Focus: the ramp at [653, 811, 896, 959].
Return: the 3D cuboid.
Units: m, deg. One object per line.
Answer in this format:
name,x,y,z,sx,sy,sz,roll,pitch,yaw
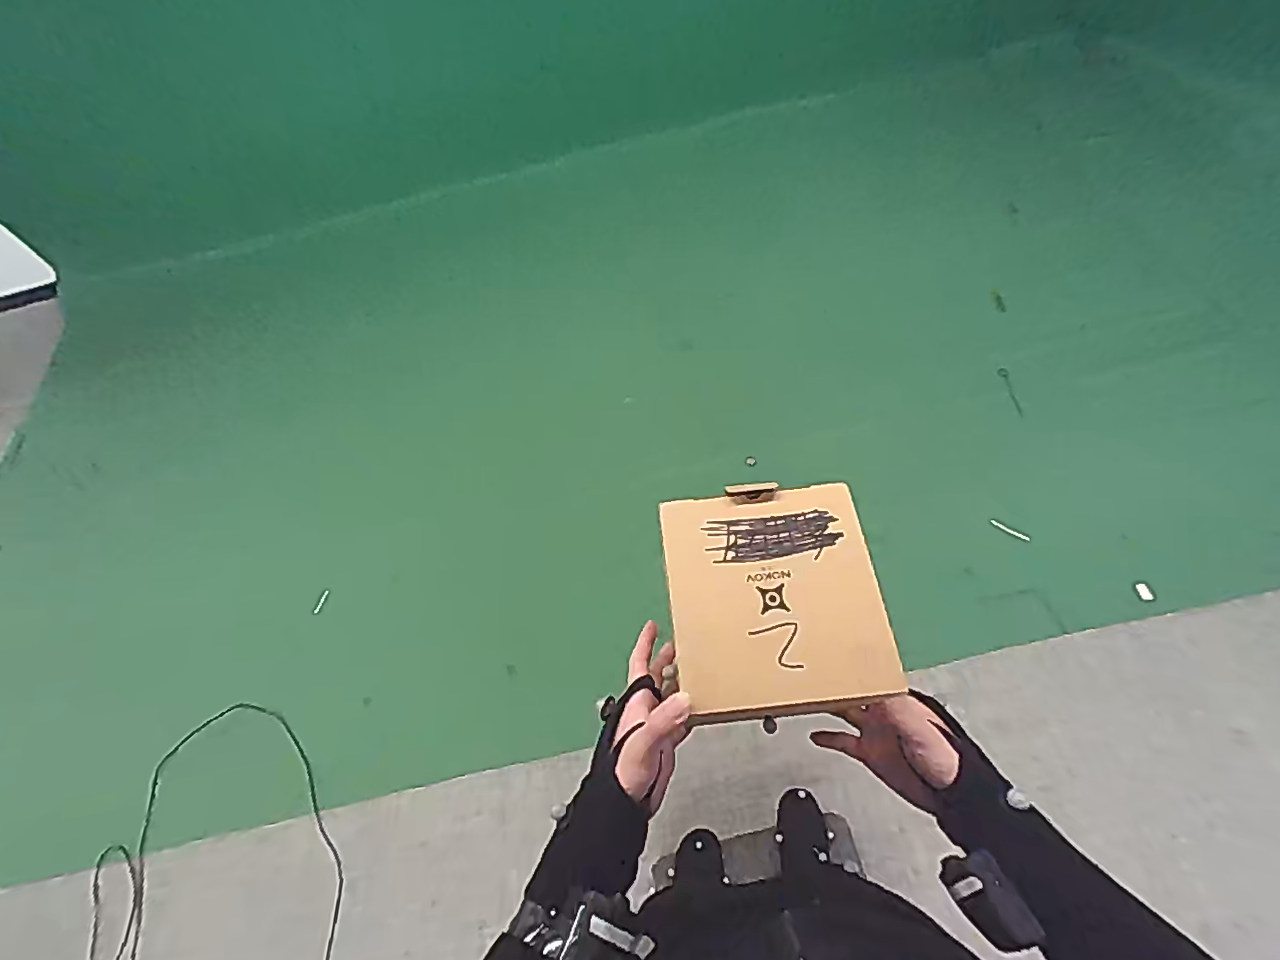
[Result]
ramp,0.381,1.311,1.132,0.509,0.206,0.991,-16,60,-1
